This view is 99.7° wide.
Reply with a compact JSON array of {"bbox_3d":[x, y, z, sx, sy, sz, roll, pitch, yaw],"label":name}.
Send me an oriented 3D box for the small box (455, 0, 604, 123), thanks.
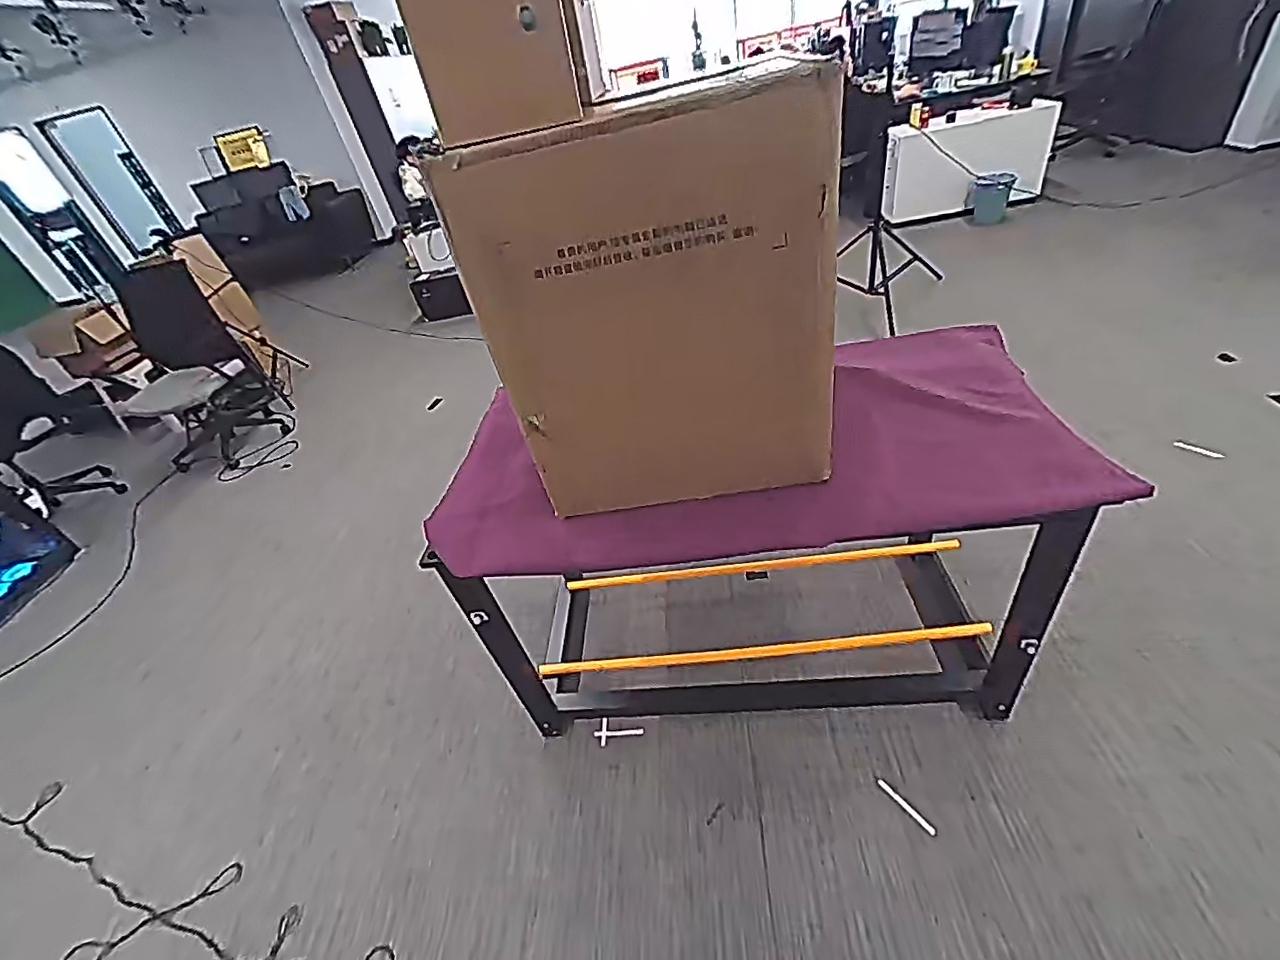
[{"bbox_3d":[-0.158,-0.672,0.842,0.168,0.176,0.179,-5,38,9],"label":"small box"}]
